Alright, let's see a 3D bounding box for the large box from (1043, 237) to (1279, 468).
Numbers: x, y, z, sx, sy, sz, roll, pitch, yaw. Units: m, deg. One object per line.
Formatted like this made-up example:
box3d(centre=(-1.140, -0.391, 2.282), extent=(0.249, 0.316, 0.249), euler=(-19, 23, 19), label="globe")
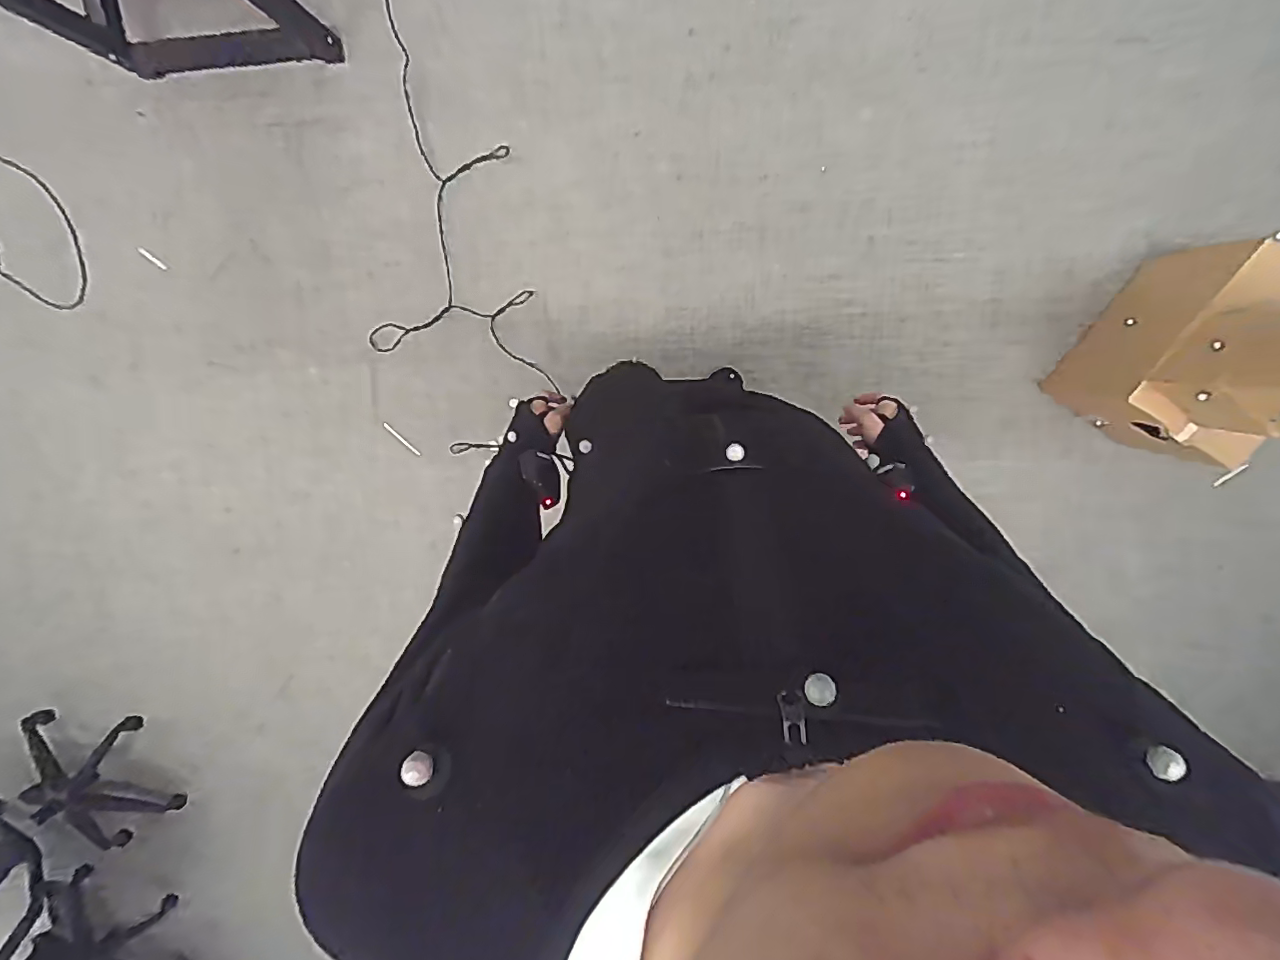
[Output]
box3d(centre=(1.321, -0.296, 1.312), extent=(0.320, 0.320, 0.408), euler=(31, 104, -5), label="large box")
